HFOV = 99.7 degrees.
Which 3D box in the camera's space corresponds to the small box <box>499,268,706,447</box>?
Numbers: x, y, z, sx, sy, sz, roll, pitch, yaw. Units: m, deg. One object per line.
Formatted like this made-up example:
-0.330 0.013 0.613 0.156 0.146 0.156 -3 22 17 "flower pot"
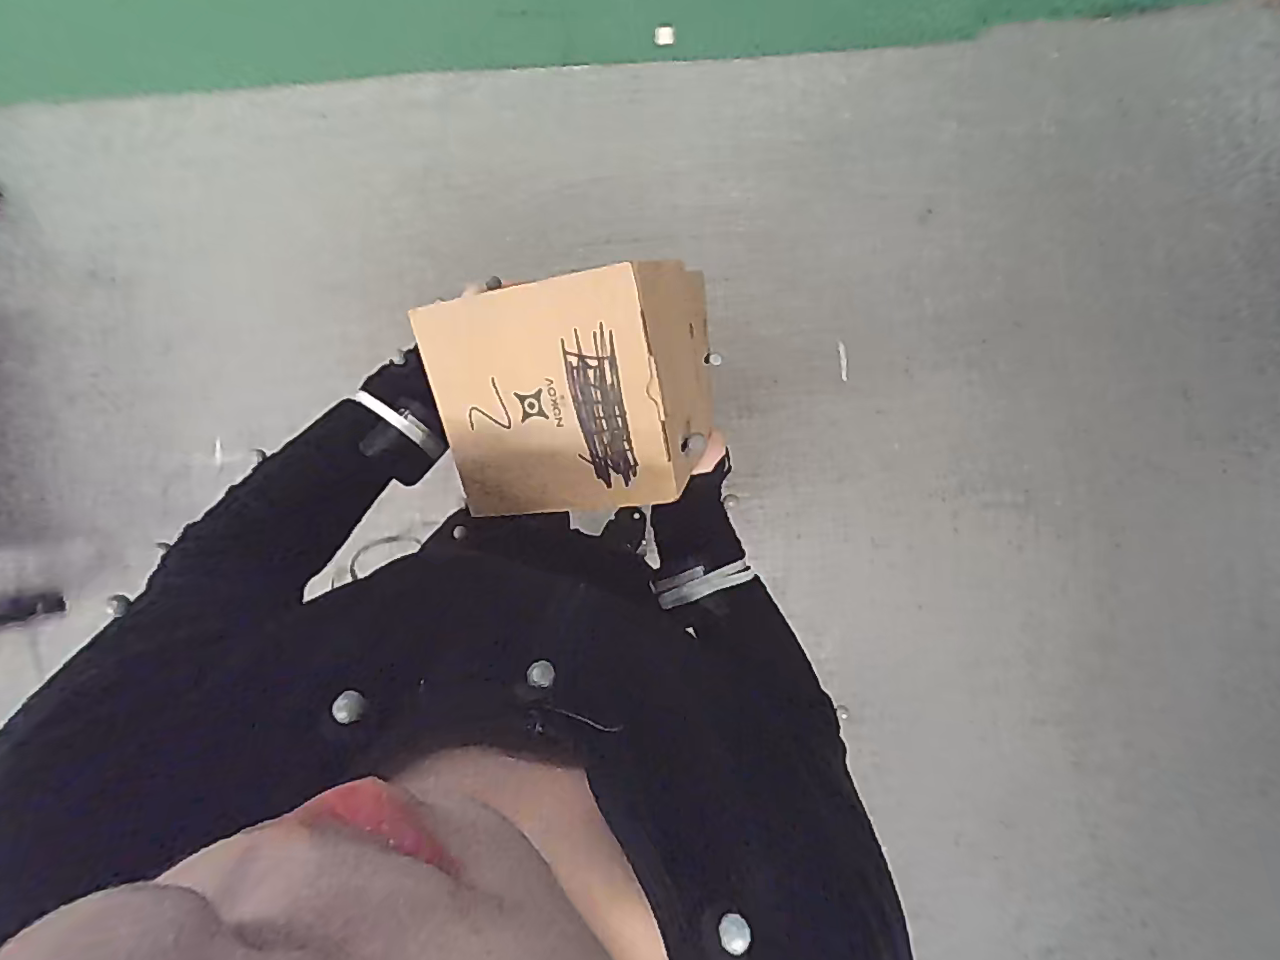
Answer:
-0.028 -0.141 0.611 0.179 0.176 0.168 -2 111 16 "small box"
